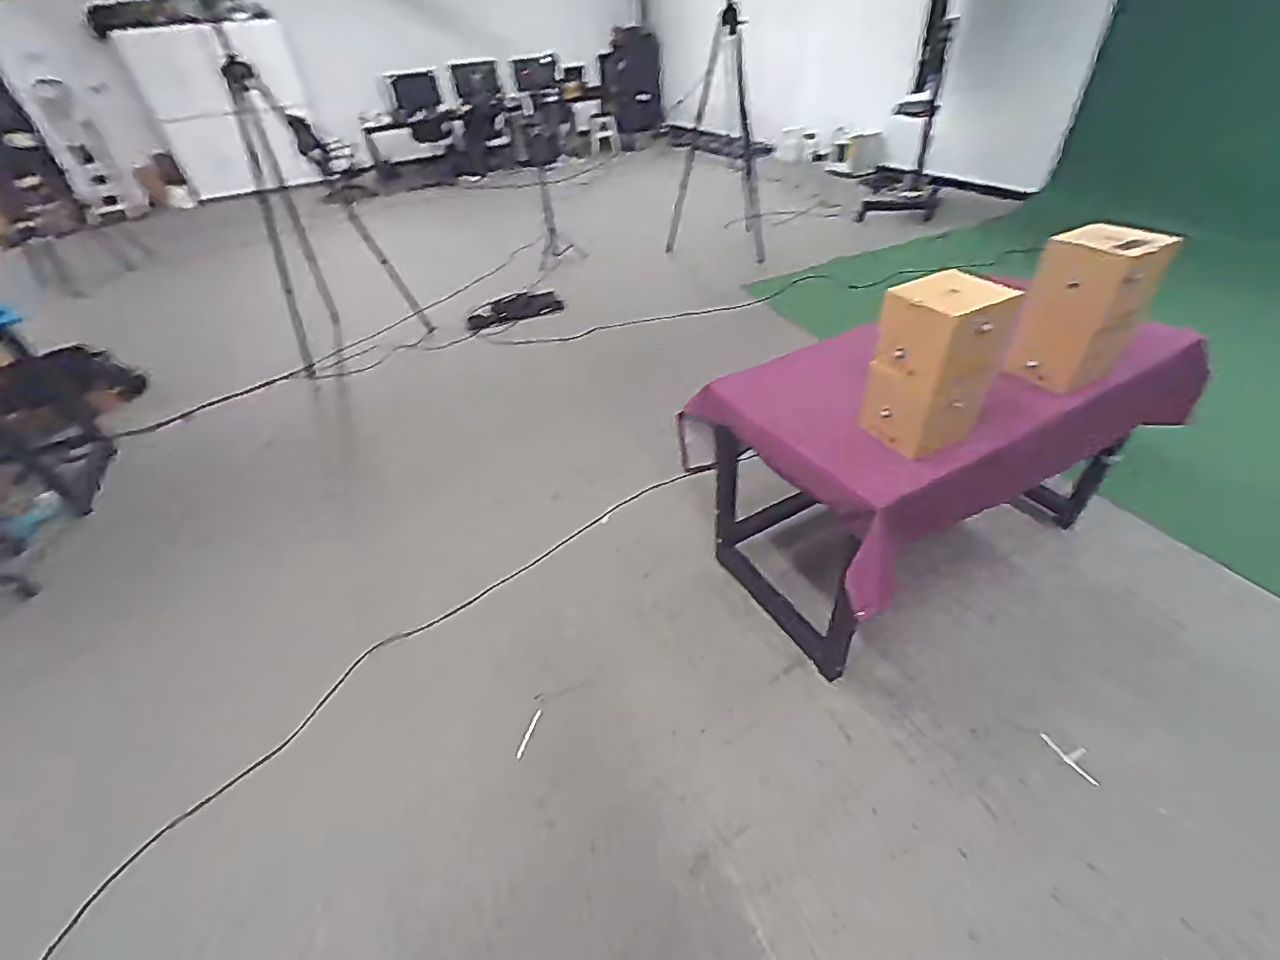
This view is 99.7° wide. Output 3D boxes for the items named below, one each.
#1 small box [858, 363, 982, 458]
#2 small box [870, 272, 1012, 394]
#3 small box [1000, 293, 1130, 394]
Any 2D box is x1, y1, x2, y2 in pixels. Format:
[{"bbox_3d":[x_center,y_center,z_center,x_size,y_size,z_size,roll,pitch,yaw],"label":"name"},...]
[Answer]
[{"bbox_3d":[0.613,-0.175,1.209,0.179,0.176,0.168,-21,42,-17],"label":"small box"},{"bbox_3d":[0.602,-0.302,1.106,0.179,0.176,0.168,-22,42,-16],"label":"small box"},{"bbox_3d":[1.047,-0.342,1.351,0.179,0.176,0.168,-22,42,-16],"label":"small box"}]
